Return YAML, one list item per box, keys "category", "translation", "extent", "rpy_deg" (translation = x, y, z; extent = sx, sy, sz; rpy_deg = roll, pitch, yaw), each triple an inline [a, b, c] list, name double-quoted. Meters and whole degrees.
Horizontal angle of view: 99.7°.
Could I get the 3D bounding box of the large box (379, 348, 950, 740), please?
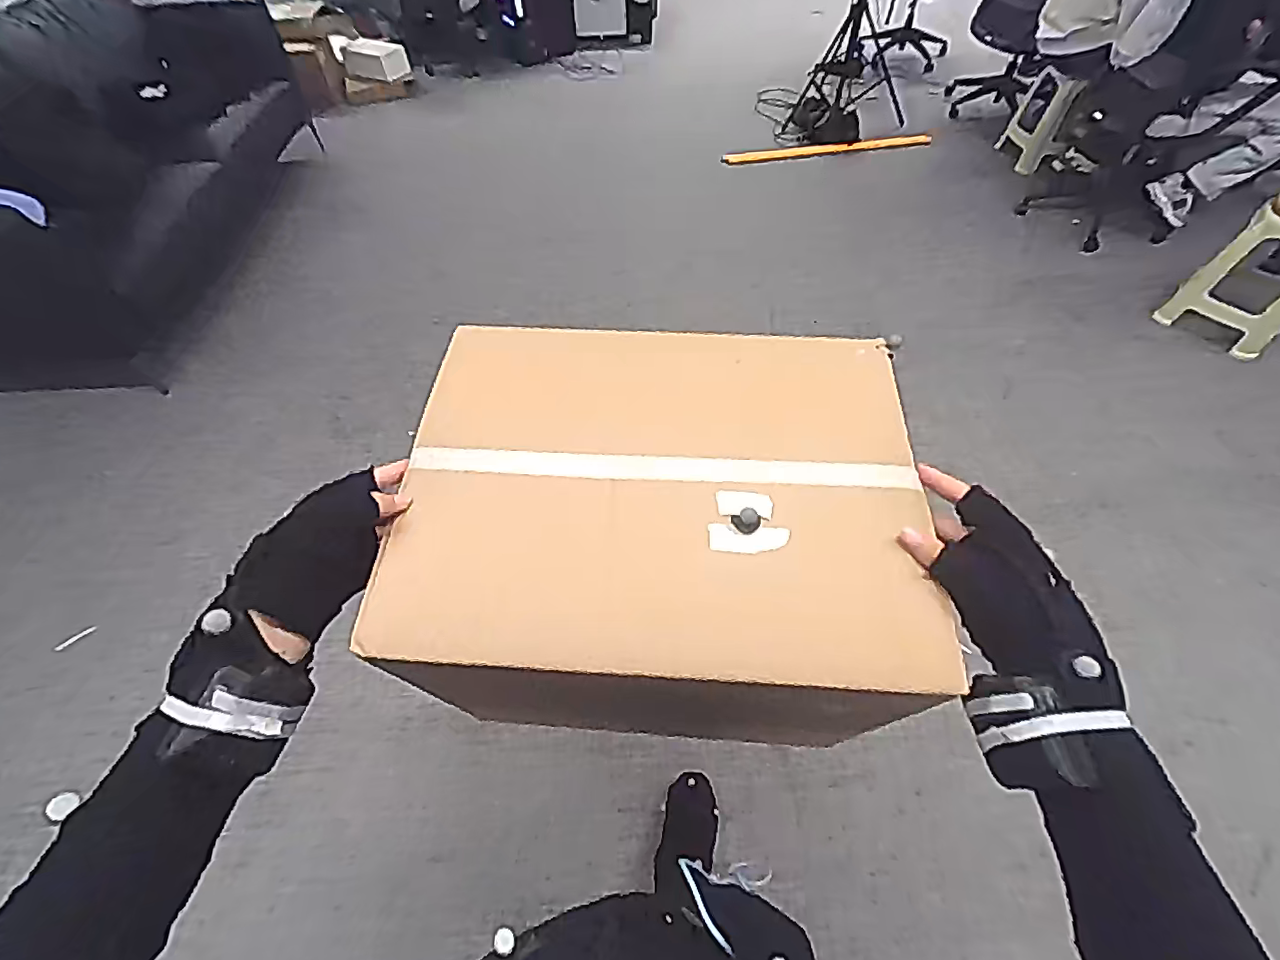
- category: "large box"
  translation: [0.021, 0.081, 0.574]
  extent: [0.408, 0.320, 0.320]
  rpy_deg: [2, 58, 3]
